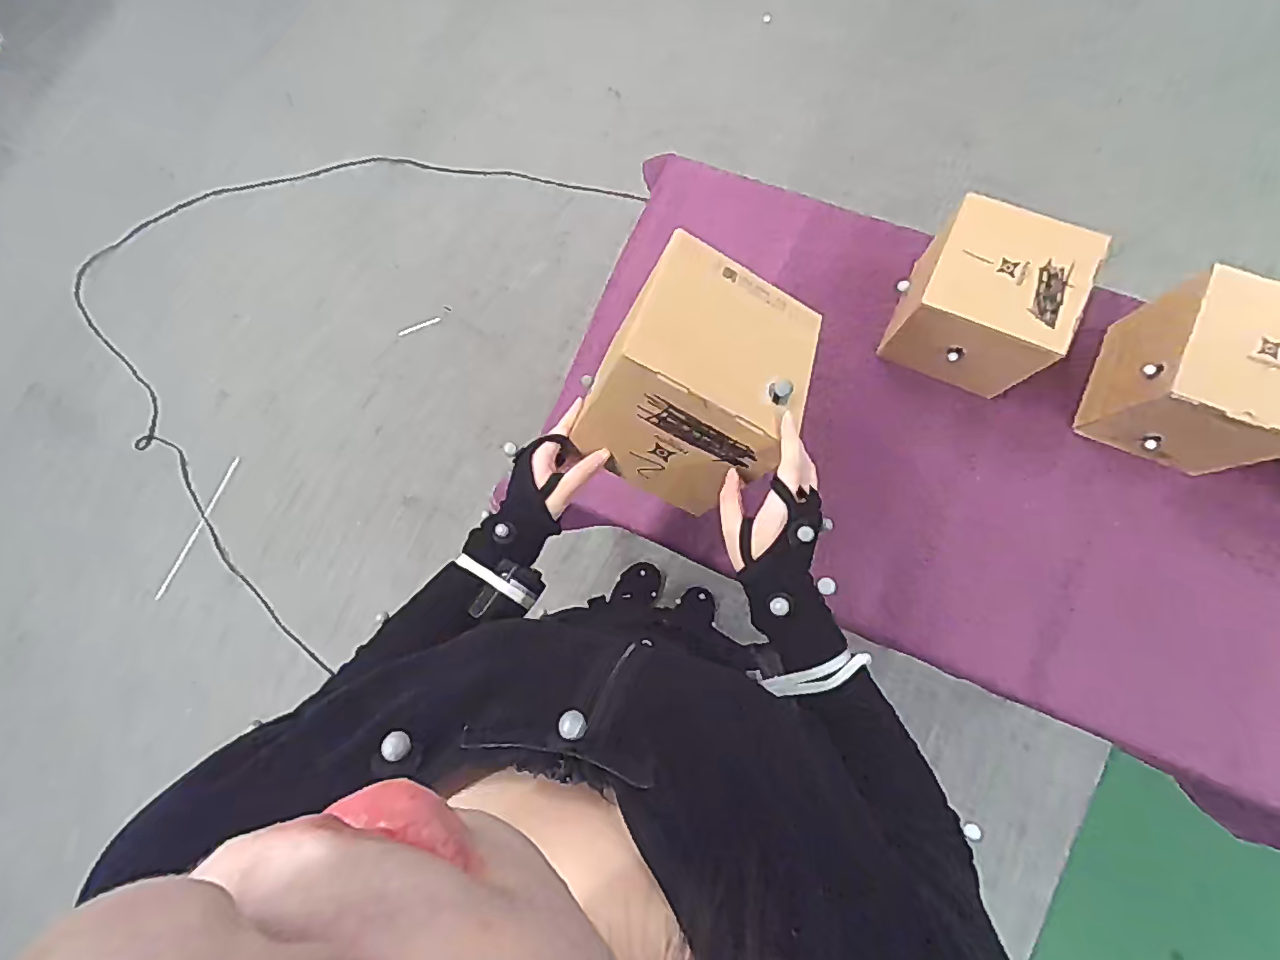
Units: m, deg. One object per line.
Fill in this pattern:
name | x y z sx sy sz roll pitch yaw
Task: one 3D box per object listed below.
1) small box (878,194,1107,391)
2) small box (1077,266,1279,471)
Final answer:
small box | 0.457 -0.238 0.732 0.179 0.176 0.168 25 84 10
small box | 0.714 -0.130 0.689 0.168 0.176 0.179 23 85 9
